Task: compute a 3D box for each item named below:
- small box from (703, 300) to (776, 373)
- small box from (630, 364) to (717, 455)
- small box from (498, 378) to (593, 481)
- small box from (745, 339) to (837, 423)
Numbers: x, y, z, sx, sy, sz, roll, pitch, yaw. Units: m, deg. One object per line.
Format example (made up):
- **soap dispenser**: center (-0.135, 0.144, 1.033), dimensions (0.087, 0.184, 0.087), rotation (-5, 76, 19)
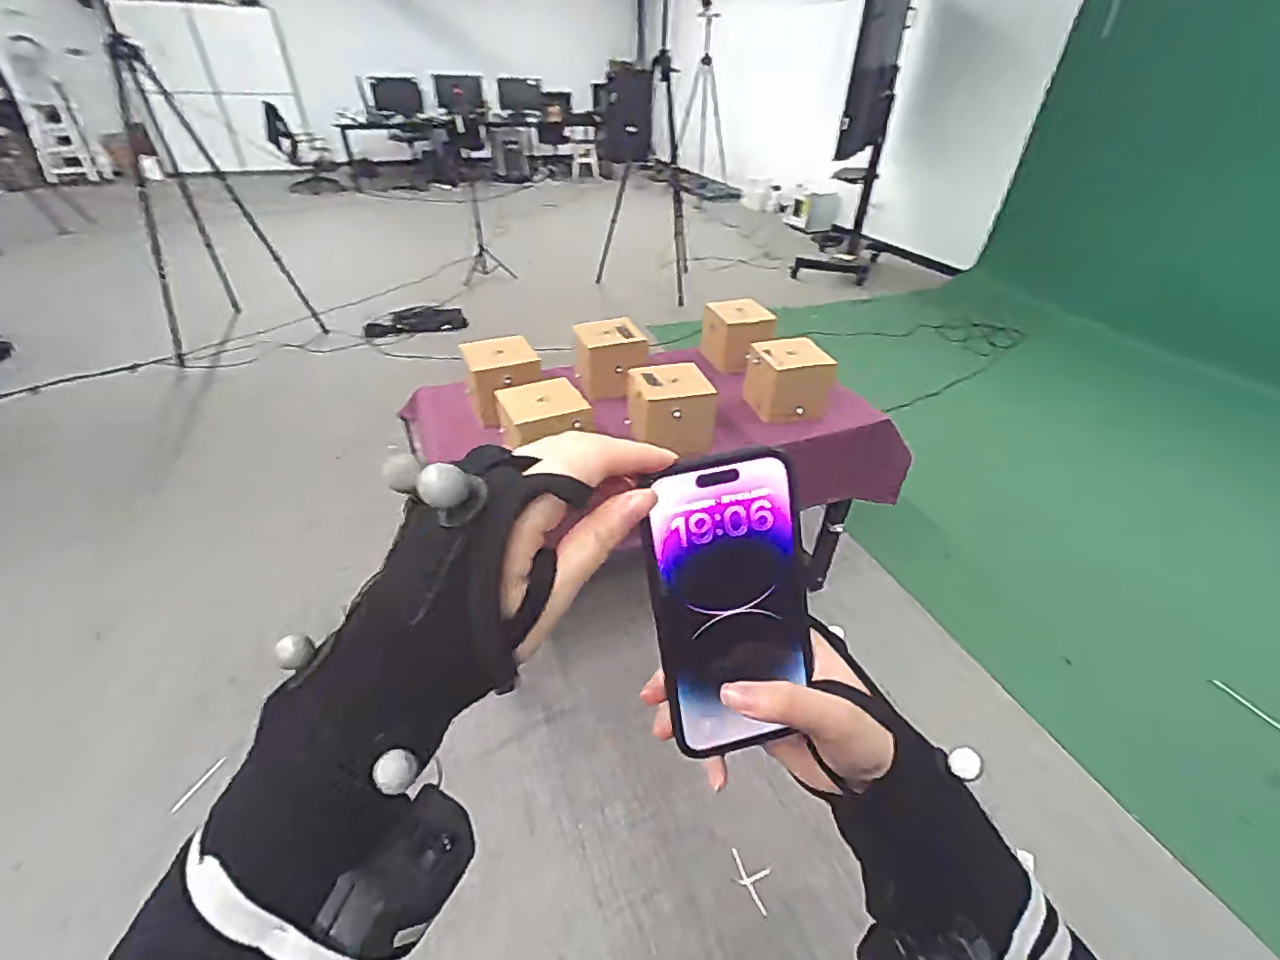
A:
- **small box**: center (0.309, -0.460, 1.730), dimensions (0.168, 0.176, 0.179), rotation (-11, 41, -14)
- **small box**: center (0.078, -0.176, 1.362), dimensions (0.179, 0.176, 0.168), rotation (-8, 39, -14)
- **small box**: center (-0.219, -0.117, 1.279), dimensions (0.179, 0.176, 0.168), rotation (-16, 41, -23)
- **small box**: center (0.409, -0.274, 1.498), dimensions (0.179, 0.176, 0.168), rotation (-8, 39, -12)
